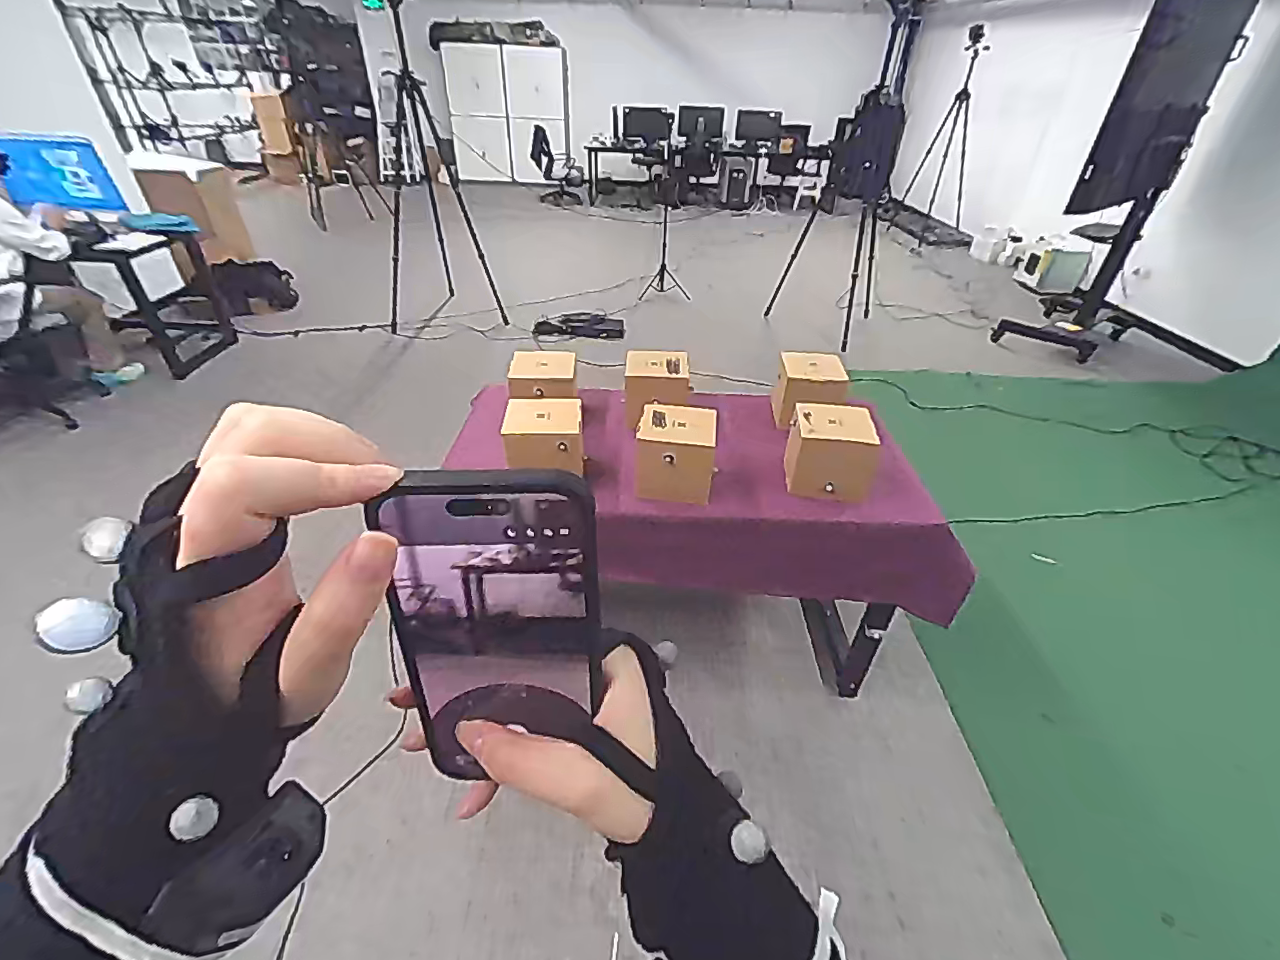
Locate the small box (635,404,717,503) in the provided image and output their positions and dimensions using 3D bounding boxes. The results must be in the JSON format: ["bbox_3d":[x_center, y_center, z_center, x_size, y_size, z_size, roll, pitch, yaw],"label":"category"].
[{"bbox_3d":[0.085,-0.063,1.292,0.179,0.176,0.168,7,37,5],"label":"small box"}]

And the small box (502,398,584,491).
[{"bbox_3d":[-0.227,-0.085,1.305,0.179,0.176,0.168,0,36,-5],"label":"small box"}]

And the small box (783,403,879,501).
[{"bbox_3d":[0.456,-0.066,1.317,0.179,0.176,0.168,7,36,6],"label":"small box"}]

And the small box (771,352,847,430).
[{"bbox_3d":[0.482,-0.253,1.568,0.168,0.176,0.179,4,37,3],"label":"small box"}]
